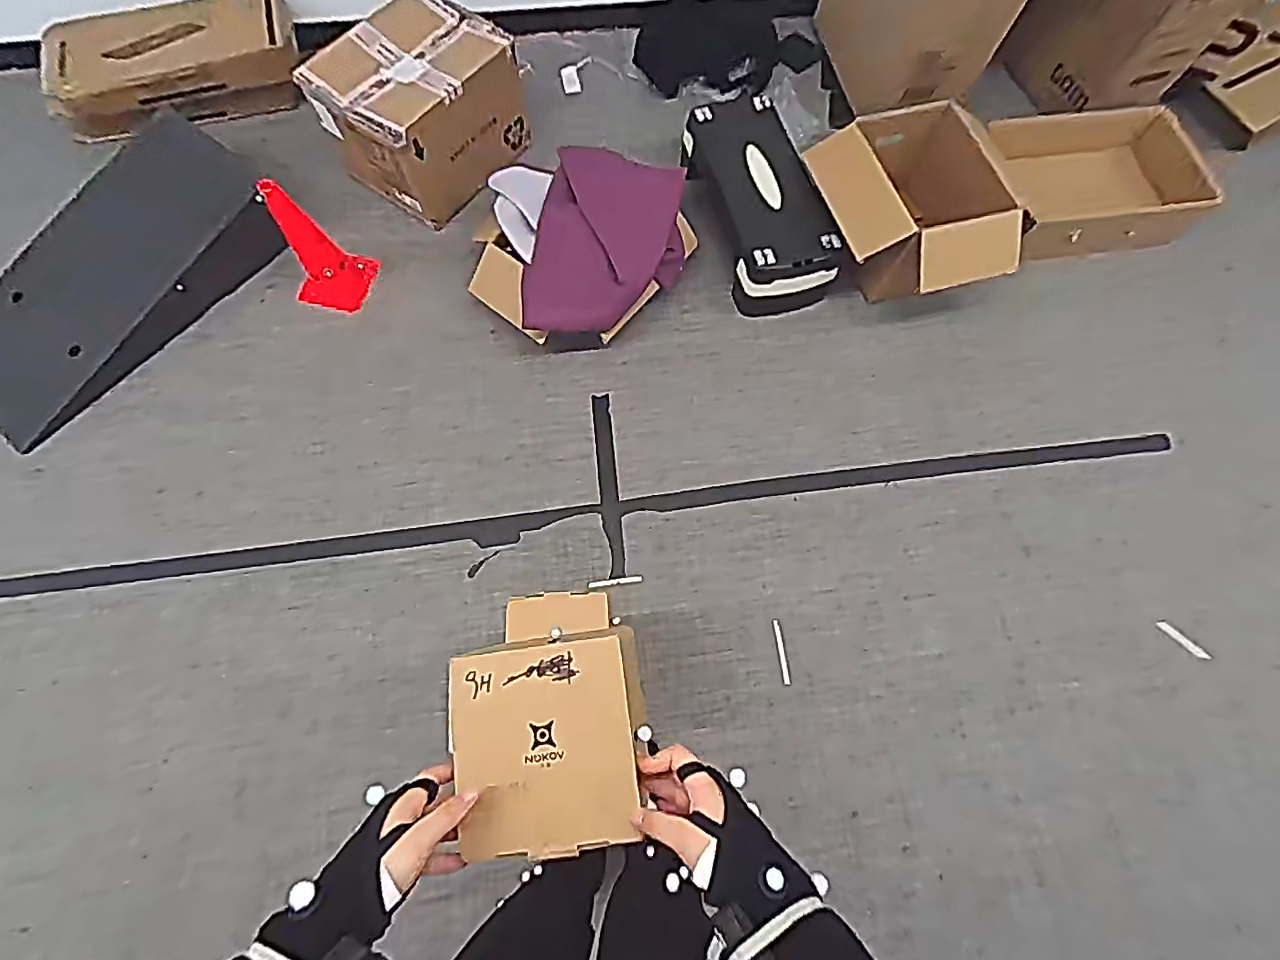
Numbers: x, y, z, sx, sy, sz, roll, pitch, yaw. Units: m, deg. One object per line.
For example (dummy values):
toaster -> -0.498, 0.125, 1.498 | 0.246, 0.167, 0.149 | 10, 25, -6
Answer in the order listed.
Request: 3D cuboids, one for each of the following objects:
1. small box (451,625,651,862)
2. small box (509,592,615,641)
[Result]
small box -> -0.082, 0.257, 0.569 | 0.168, 0.176, 0.179 | -9, 78, 2
small box -> -0.126, 0.294, 0.924 | 0.168, 0.176, 0.179 | -3, 72, -1
